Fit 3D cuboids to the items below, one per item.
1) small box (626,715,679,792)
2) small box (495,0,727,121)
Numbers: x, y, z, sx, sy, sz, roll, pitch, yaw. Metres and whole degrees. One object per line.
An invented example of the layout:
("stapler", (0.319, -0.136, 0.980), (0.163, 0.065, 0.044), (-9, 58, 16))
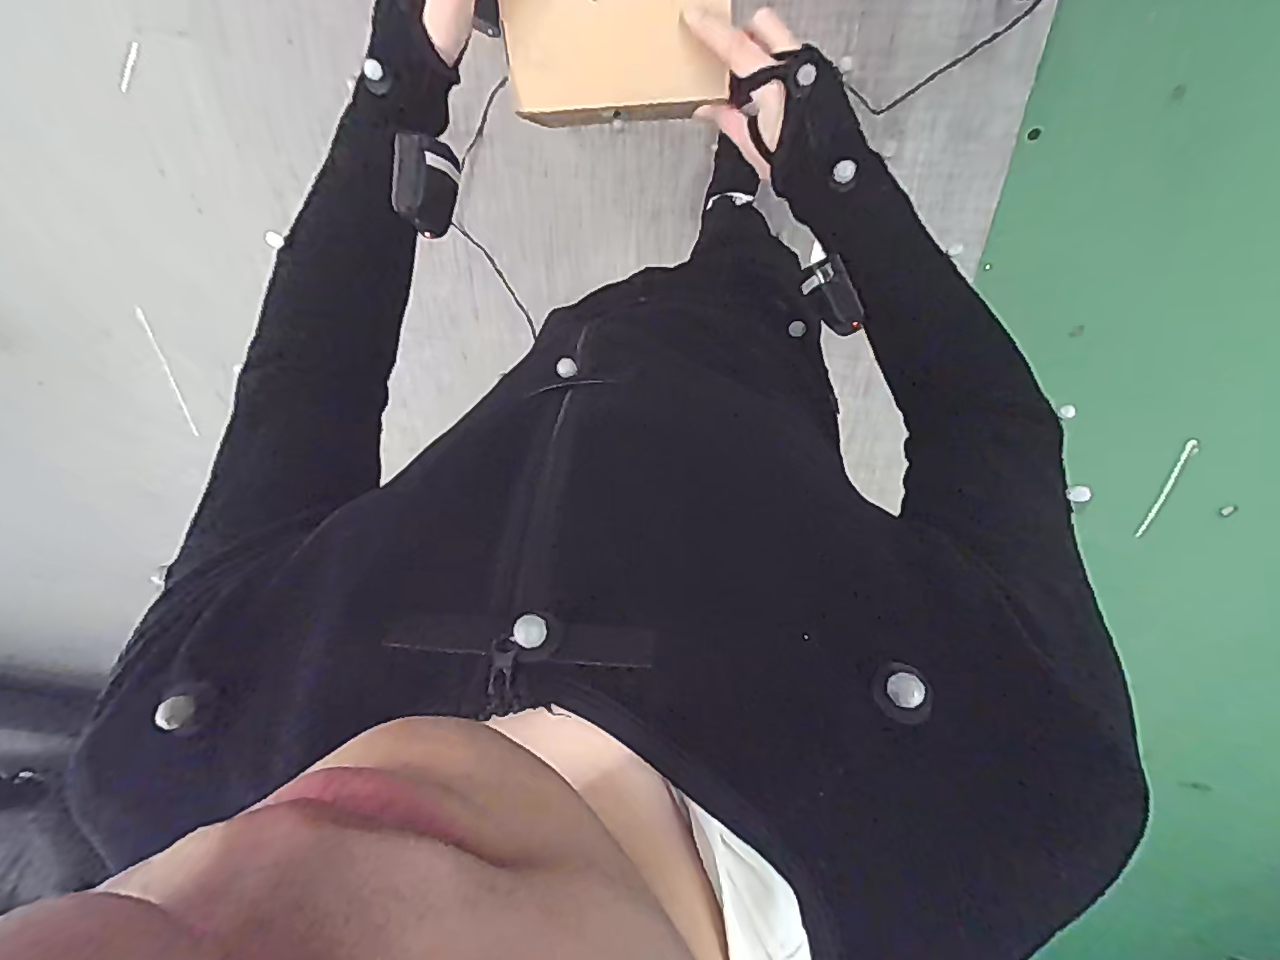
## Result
("small box", (0.048, 0.998, 1.979), (0.168, 0.176, 0.179), (6, 120, 8))
("small box", (-0.018, -0.411, 0.460), (0.179, 0.176, 0.168), (0, 120, 2))
